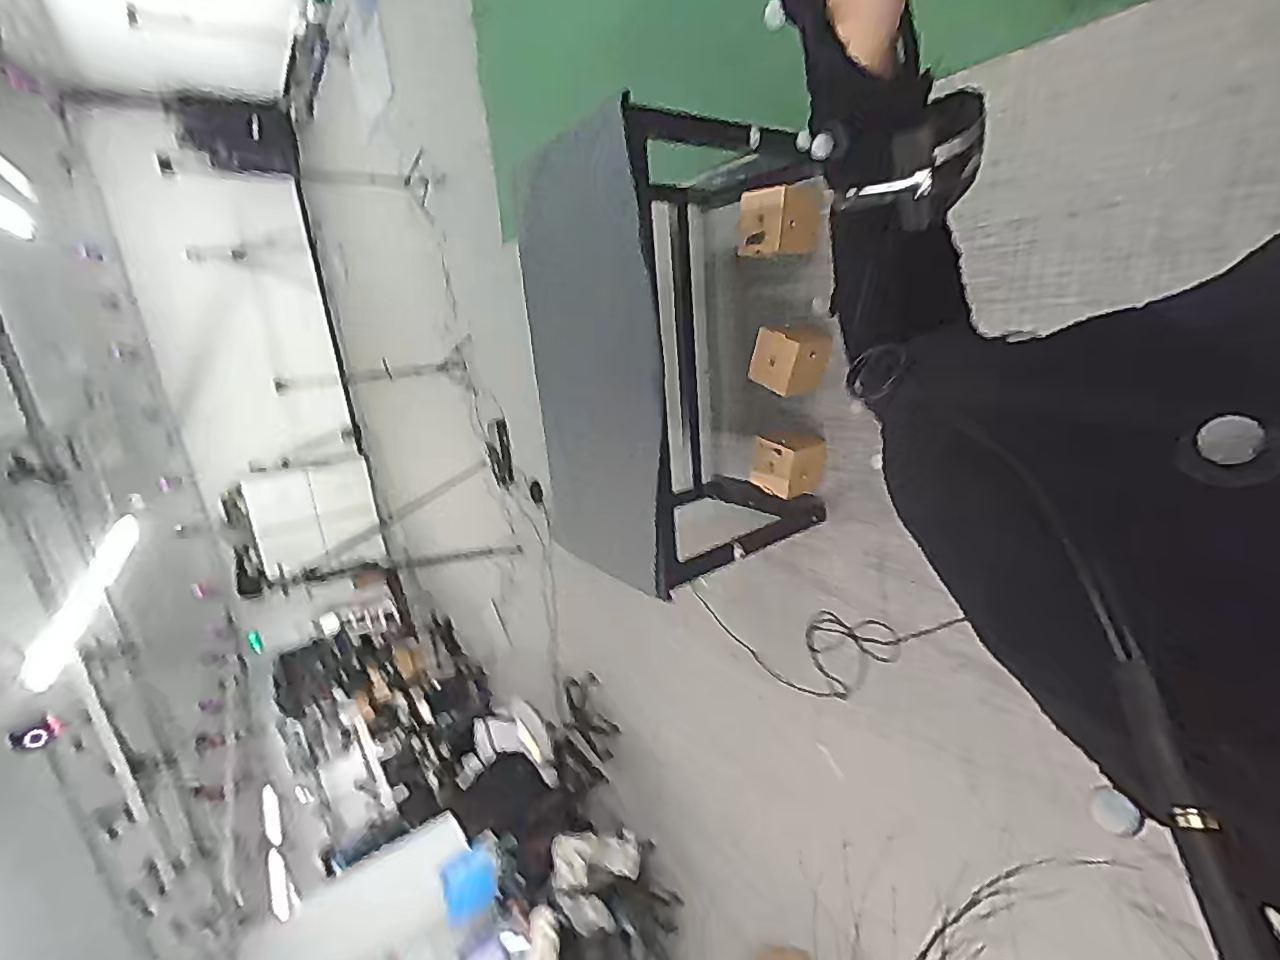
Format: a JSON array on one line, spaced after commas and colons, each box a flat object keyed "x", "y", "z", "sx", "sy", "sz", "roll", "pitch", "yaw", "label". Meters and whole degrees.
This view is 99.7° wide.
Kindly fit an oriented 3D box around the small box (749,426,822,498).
[{"x": 0.496, "y": -0.066, "z": 1.844, "sx": 0.168, "sy": 0.176, "sz": 0.179, "roll": 32, "pitch": 129, "yaw": 44, "label": "small box"}]

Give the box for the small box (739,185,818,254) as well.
[{"x": 0.422, "y": -0.789, "z": 1.650, "sx": 0.168, "sy": 0.176, "sz": 0.179, "roll": 23, "pitch": 121, "yaw": 48, "label": "small box"}]

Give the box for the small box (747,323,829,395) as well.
[{"x": 0.477, "y": -0.395, "z": 1.735, "sx": 0.168, "sy": 0.176, "sz": 0.179, "roll": 41, "pitch": 135, "yaw": 40, "label": "small box"}]
